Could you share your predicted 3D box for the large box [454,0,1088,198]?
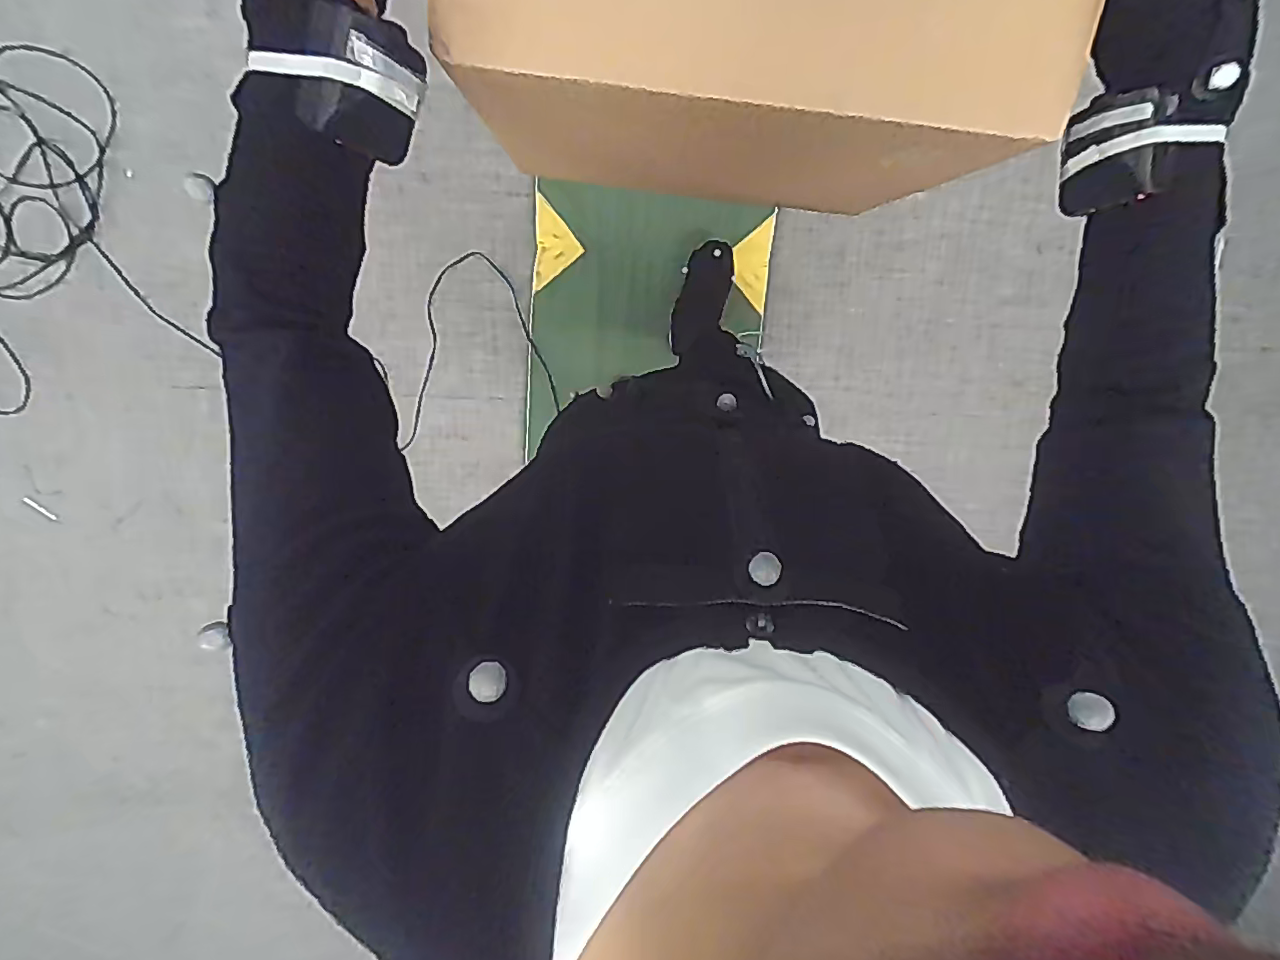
[{"bbox_3d":[0.083,-0.444,0.441,0.408,0.320,0.320,4,109,-5],"label":"large box"}]
